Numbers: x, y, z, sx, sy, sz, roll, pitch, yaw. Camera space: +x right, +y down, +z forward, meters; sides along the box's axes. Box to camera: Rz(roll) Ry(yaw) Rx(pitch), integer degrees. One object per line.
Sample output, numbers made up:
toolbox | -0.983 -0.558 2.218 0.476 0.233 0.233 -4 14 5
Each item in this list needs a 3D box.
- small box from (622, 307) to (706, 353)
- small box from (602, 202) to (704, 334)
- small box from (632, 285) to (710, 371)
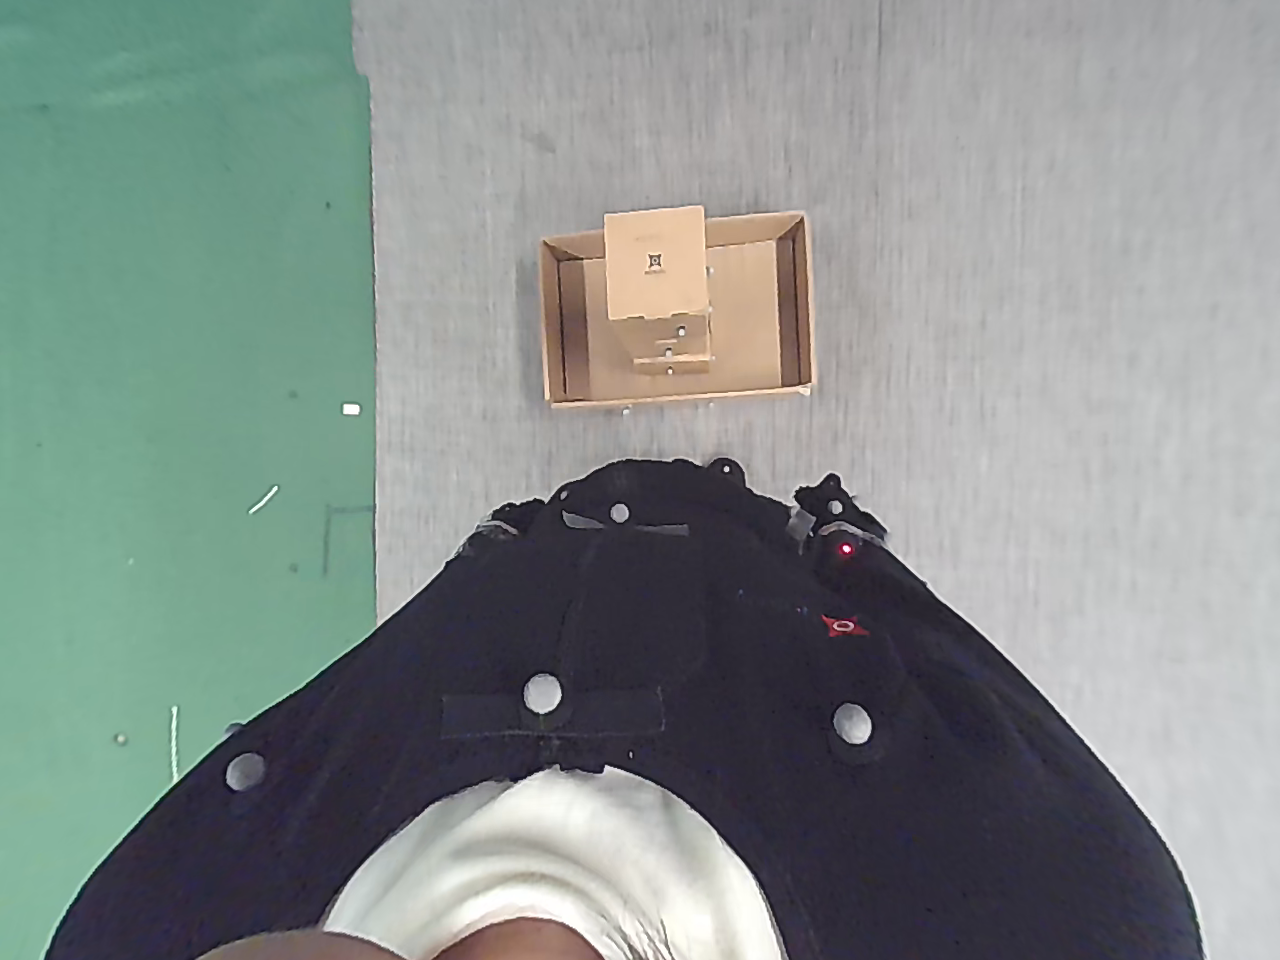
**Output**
small box | 0.052 -0.372 1.146 0.168 0.176 0.179 -5 91 8
small box | 0.030 -0.364 0.965 0.168 0.176 0.179 -2 91 6
small box | 0.078 -0.361 1.304 0.179 0.176 0.168 1 91 8
